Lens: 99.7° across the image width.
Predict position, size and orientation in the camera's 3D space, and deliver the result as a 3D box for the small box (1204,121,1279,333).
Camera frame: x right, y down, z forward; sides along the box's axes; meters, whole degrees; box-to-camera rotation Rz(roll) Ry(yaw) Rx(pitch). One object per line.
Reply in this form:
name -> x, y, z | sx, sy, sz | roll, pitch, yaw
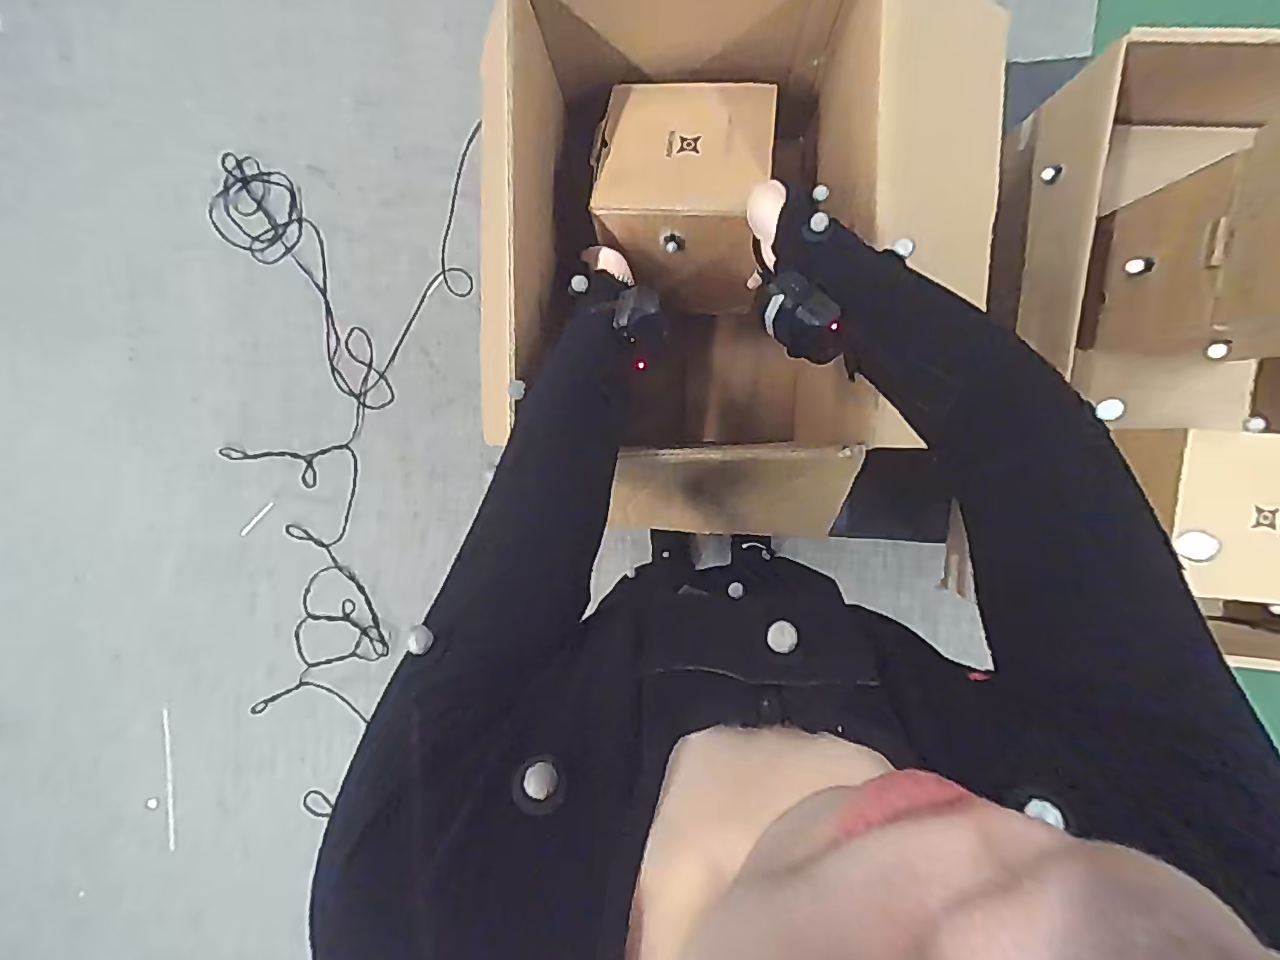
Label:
small box -> 0.616, -0.216, 0.425 | 0.168, 0.176, 0.179 | 6, 98, 3
